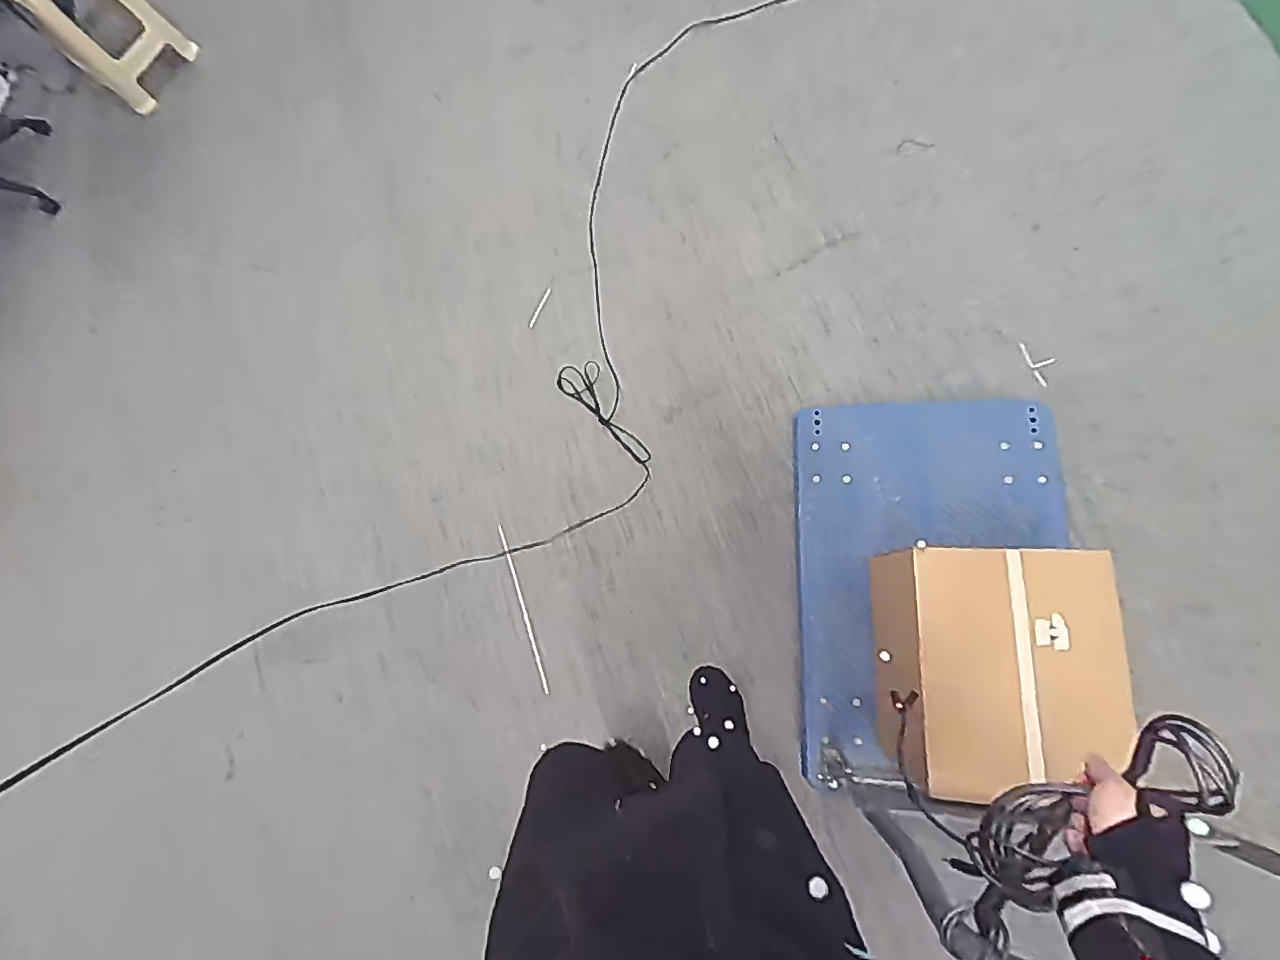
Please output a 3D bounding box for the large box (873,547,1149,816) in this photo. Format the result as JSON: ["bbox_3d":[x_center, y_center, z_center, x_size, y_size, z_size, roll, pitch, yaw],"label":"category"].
[{"bbox_3d":[0.642,0.344,1.016,0.320,0.320,0.408,1,78,9],"label":"large box"}]
